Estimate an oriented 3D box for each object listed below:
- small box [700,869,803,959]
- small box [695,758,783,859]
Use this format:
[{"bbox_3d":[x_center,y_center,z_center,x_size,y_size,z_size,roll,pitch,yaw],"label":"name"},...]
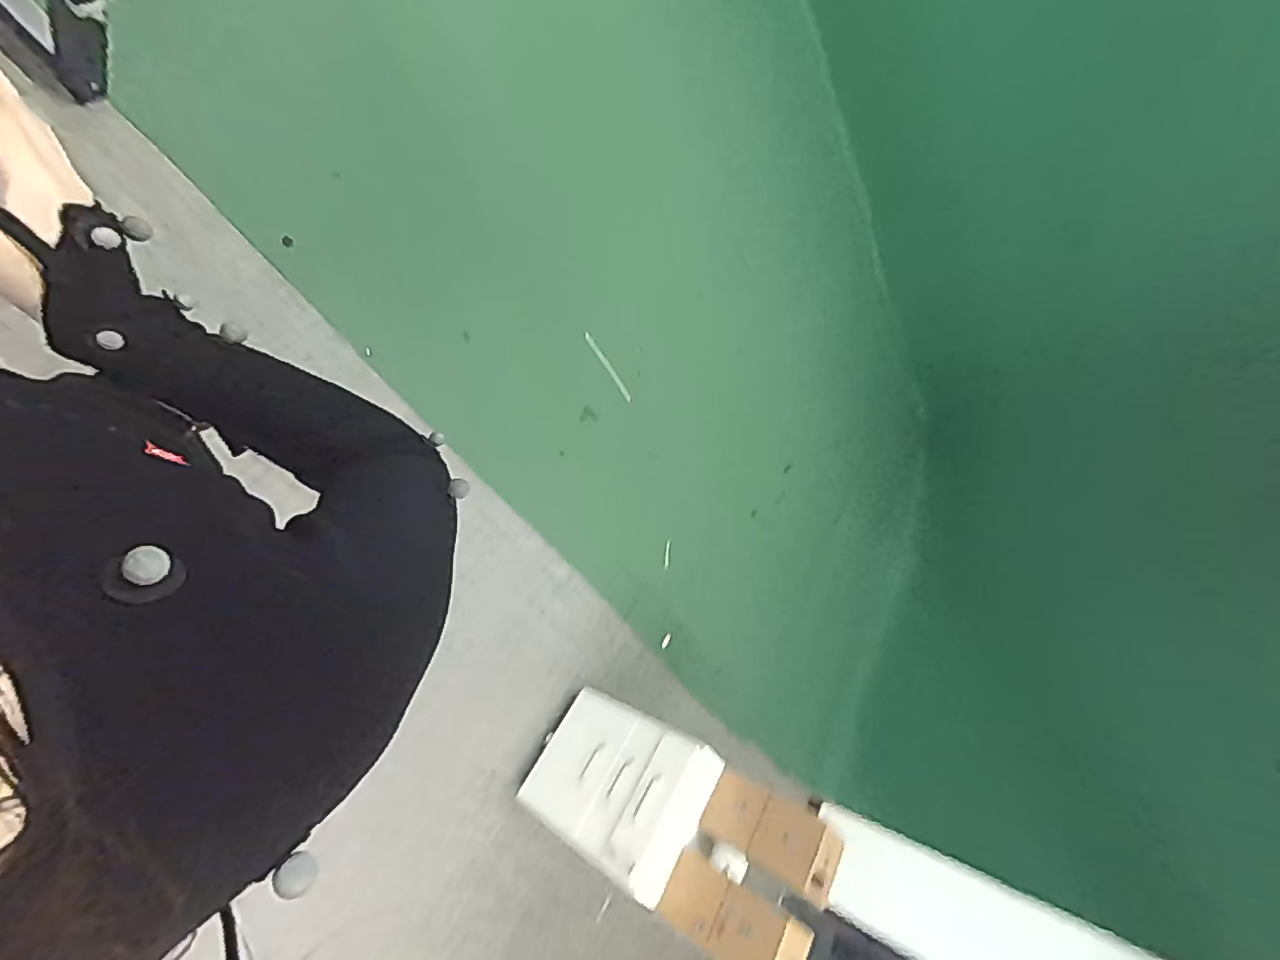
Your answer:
[{"bbox_3d":[0.277,1.122,1.355,0.168,0.176,0.179,-54,128,-28],"label":"small box"},{"bbox_3d":[0.288,0.956,1.587,0.179,0.176,0.168,-54,127,-26],"label":"small box"}]
